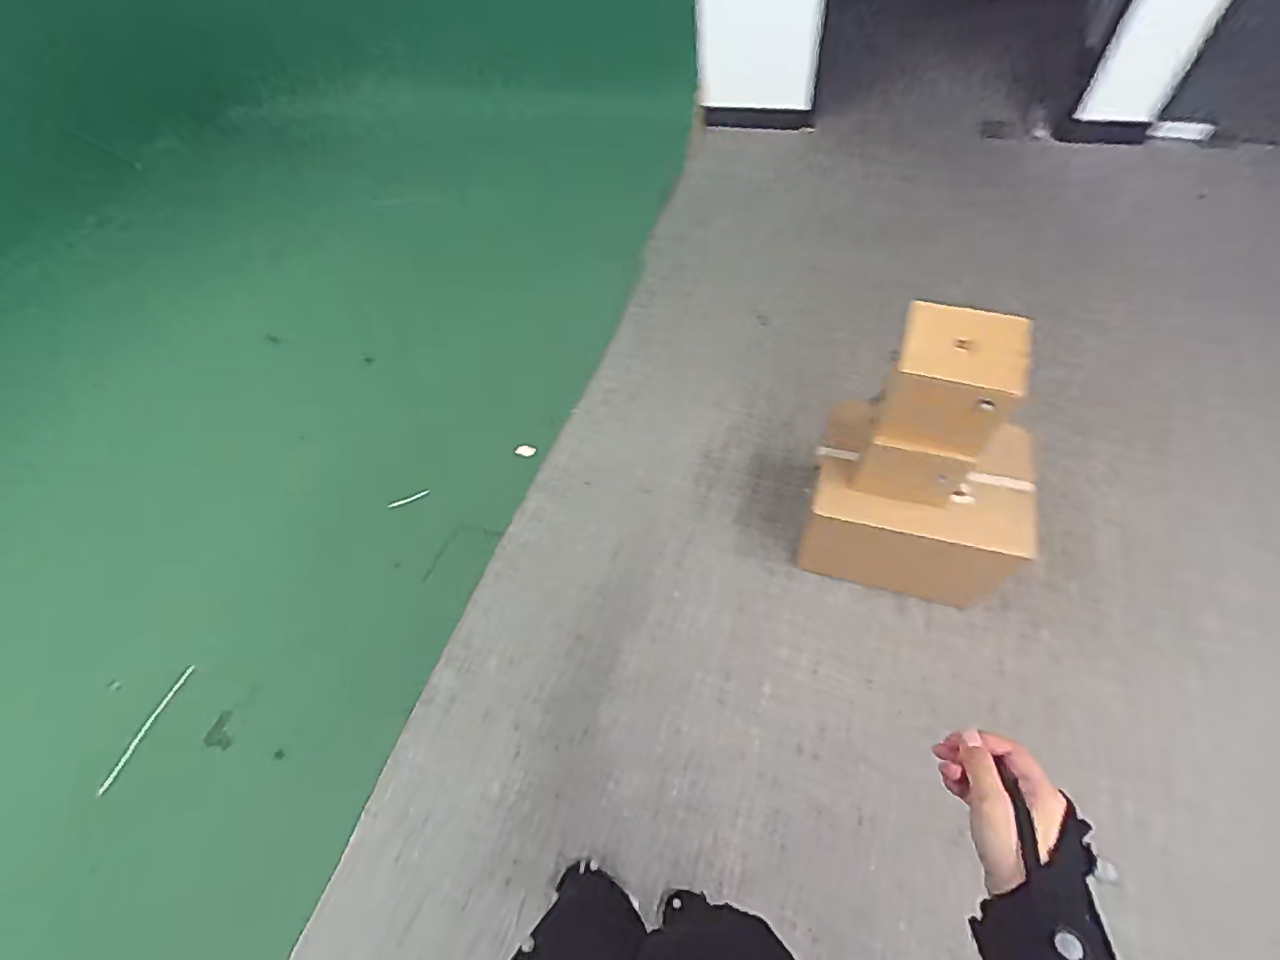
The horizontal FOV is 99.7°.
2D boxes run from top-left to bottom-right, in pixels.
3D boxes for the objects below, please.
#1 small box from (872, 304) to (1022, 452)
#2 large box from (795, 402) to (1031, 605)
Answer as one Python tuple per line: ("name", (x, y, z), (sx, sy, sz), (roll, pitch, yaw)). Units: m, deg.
("small box", (0.512, -0.169, 0.921), (0.179, 0.176, 0.168), (15, 62, 16))
("large box", (0.597, 0.057, 1.250), (0.408, 0.320, 0.320), (11, 62, 14))
